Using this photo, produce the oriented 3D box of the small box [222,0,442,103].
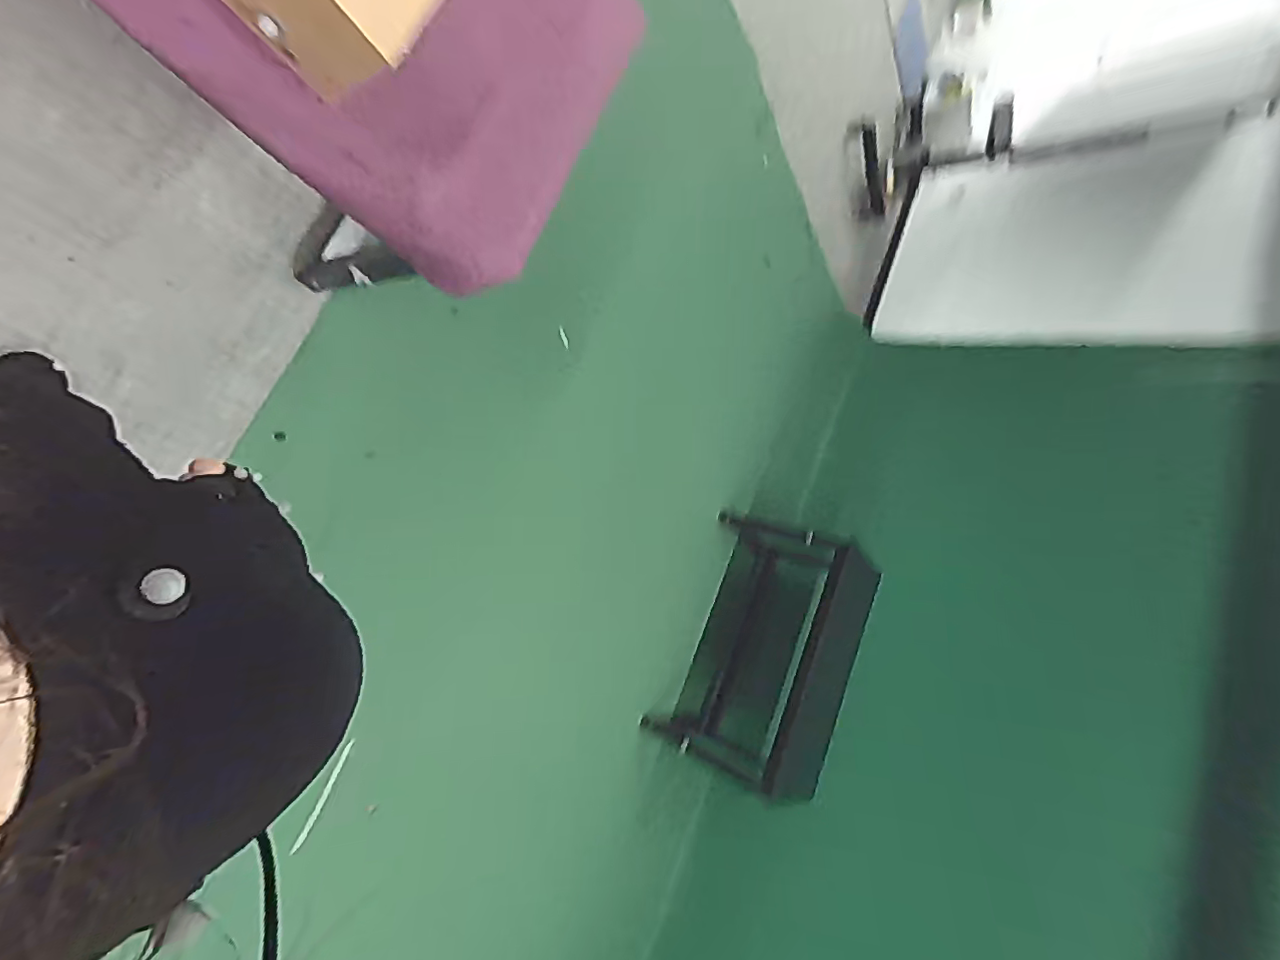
[{"bbox_3d":[-0.341,-0.571,0.600,0.168,0.176,0.179,39,69,-48],"label":"small box"}]
